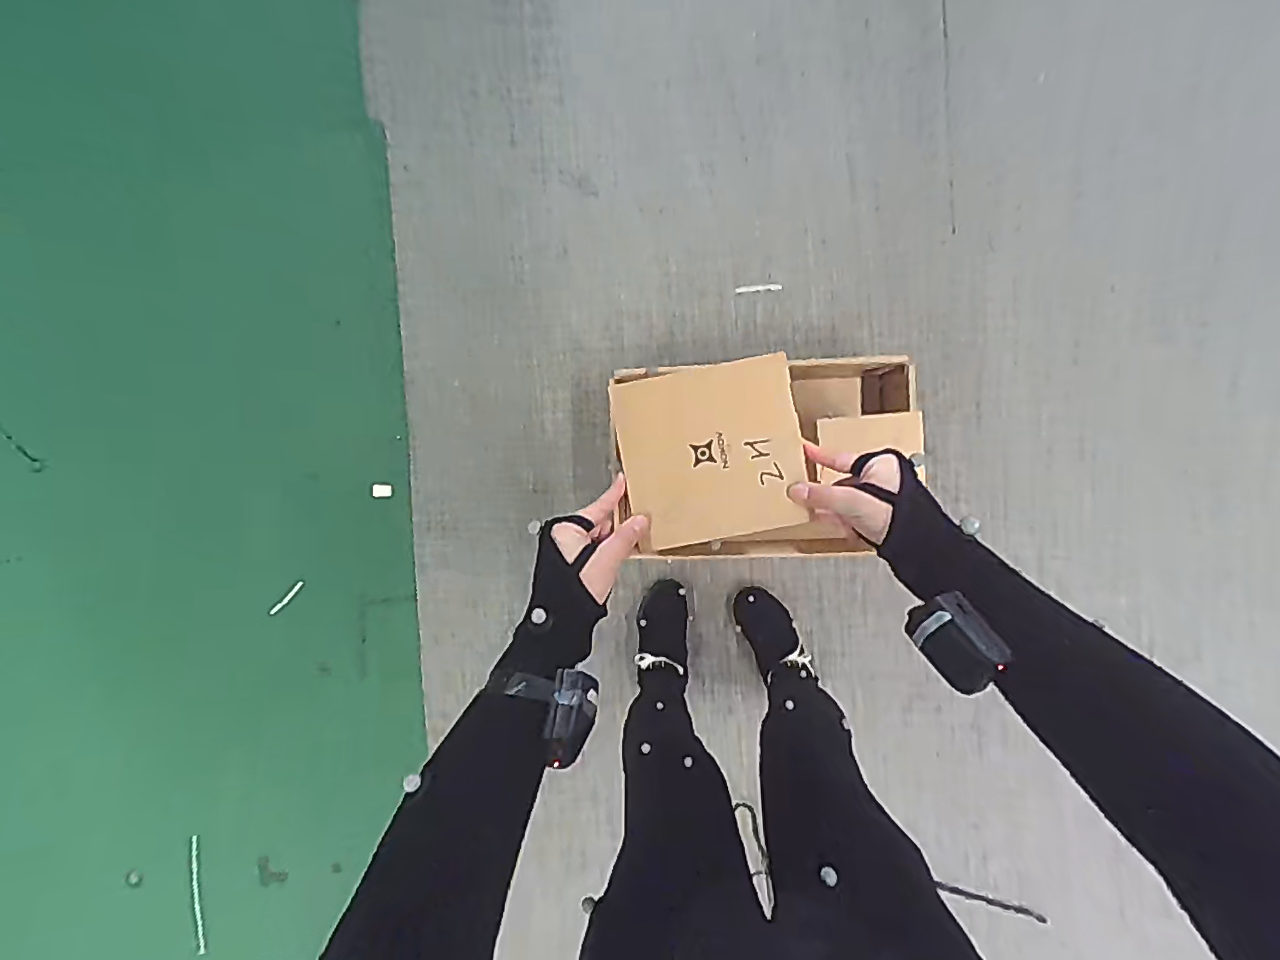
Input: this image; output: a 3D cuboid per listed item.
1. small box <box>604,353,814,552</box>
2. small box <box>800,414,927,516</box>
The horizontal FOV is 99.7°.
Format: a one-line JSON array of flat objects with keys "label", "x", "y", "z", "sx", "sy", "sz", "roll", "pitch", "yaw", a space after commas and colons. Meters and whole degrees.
[{"label": "small box", "x": 0.068, "y": -0.024, "z": 0.586, "sx": 0.179, "sy": 0.176, "sz": 0.168, "roll": -11, "pitch": 90, "yaw": 2}, {"label": "small box", "x": 0.392, "y": -0.026, "z": 0.981, "sx": 0.179, "sy": 0.176, "sz": 0.168, "roll": -4, "pitch": 92, "yaw": 4}]
